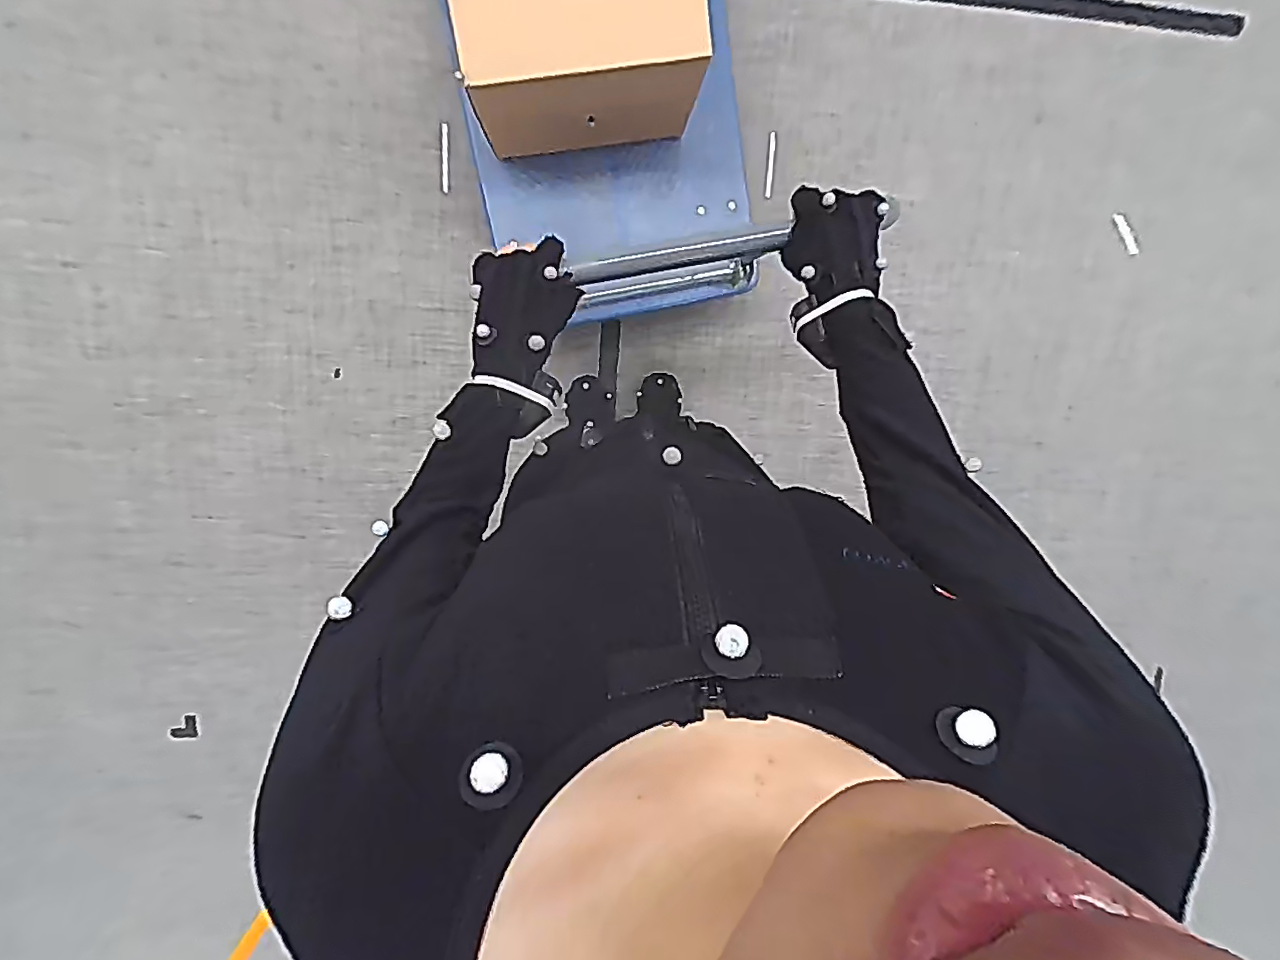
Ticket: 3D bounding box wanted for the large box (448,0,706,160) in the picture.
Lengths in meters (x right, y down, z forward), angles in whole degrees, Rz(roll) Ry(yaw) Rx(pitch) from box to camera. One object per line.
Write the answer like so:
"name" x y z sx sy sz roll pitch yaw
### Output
"large box" -0.119 -0.833 0.996 0.408 0.320 0.320 -9 102 -2
